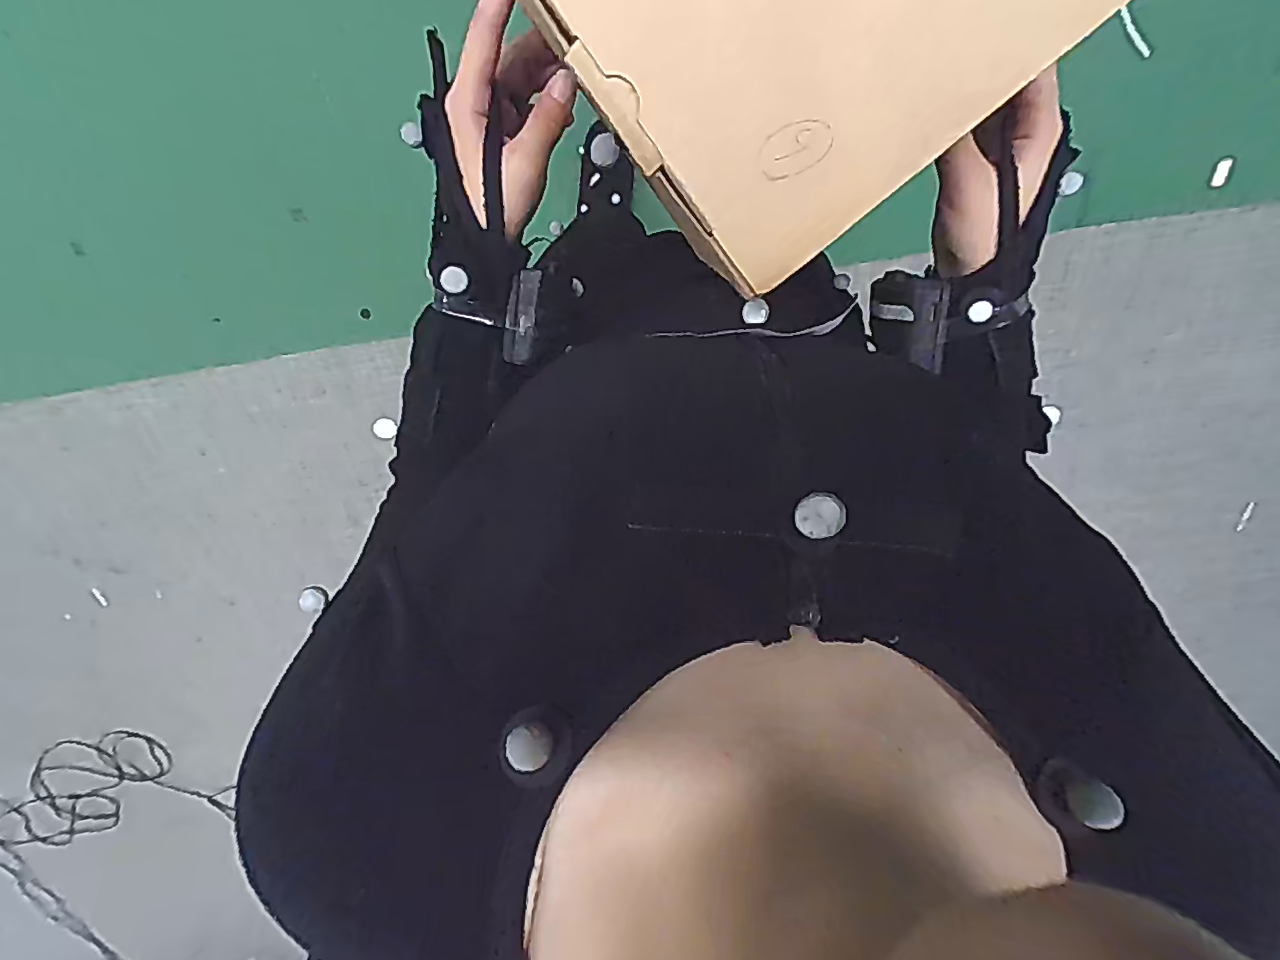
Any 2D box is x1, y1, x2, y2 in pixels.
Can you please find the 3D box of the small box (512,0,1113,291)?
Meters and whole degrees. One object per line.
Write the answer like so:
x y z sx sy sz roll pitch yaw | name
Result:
0.054 -0.211 0.228 0.179 0.176 0.168 -36 111 17 | small box
